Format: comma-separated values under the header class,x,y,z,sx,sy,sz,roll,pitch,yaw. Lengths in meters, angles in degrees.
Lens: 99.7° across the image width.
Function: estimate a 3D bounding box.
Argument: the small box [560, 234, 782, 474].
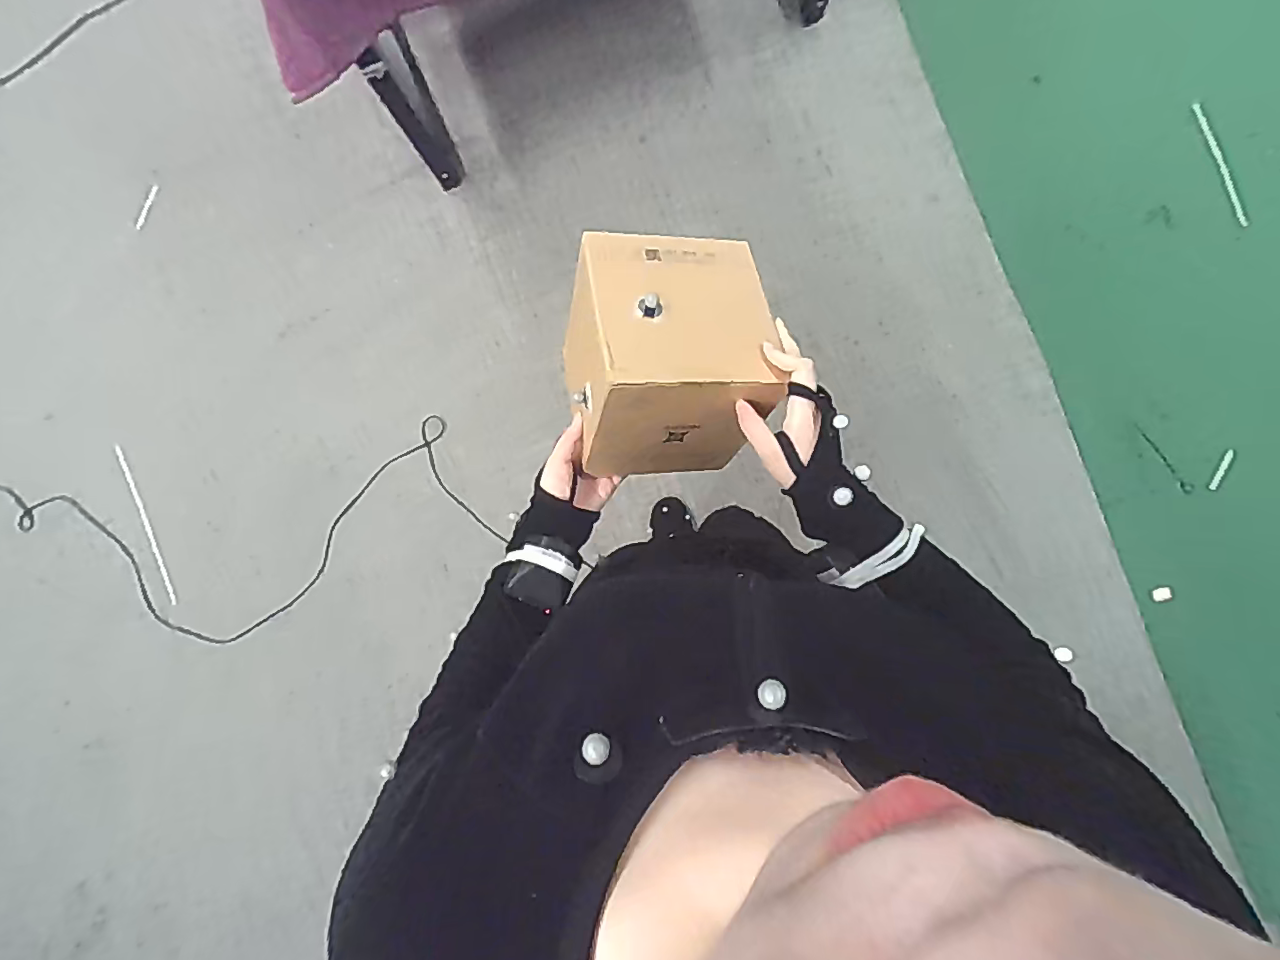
class,x,y,z,sx,sy,sz,roll,pitch,yaw
small box,0.014,-0.121,0.549,0.168,0.179,0.176,-3,66,-16
